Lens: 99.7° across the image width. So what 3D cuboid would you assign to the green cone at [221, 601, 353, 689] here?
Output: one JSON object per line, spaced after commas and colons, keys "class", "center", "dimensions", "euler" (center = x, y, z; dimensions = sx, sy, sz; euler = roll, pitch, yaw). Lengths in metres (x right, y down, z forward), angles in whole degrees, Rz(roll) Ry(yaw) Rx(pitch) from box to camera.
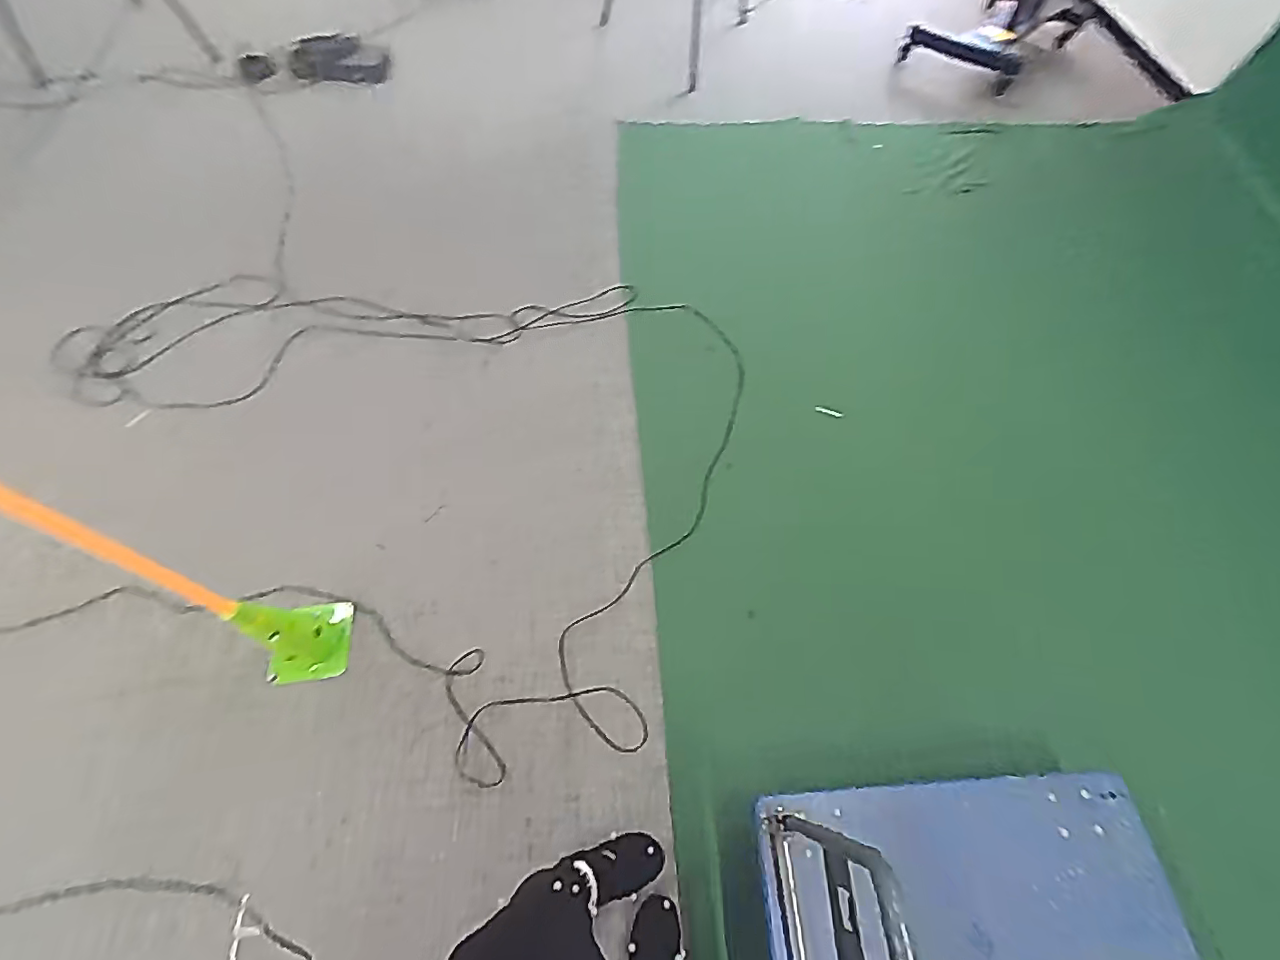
{"class": "green cone", "center": [-0.899, 0.377, 1.341], "dimensions": [0.200, 0.368, 0.202], "euler": [-7, 61, -5]}
